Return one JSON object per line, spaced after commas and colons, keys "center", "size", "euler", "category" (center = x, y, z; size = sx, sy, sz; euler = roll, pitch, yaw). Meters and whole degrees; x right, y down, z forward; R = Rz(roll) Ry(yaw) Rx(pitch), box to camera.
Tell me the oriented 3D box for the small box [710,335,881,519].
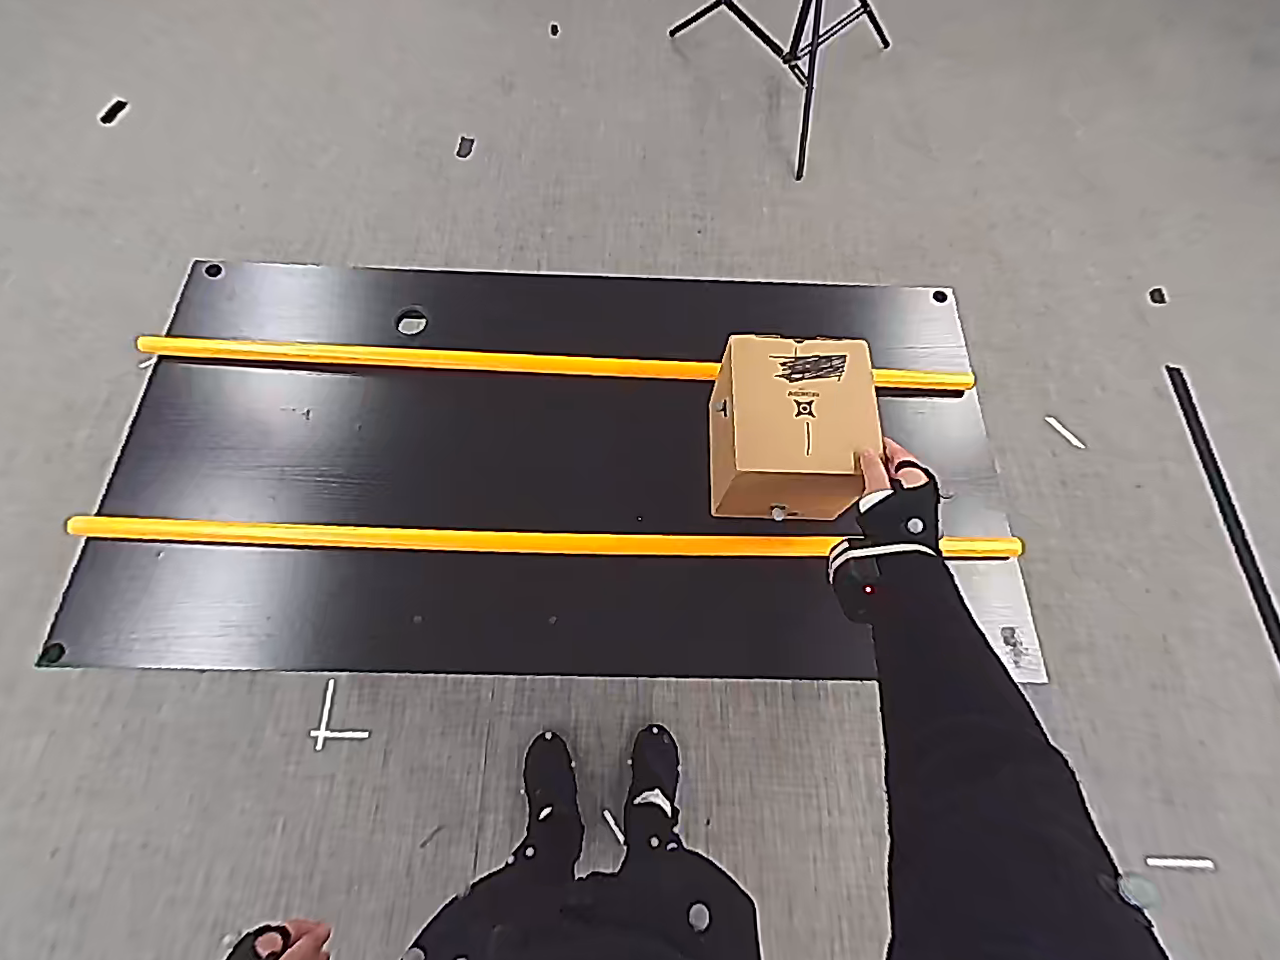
{"center": [0.183, -0.061, 0.692], "size": [0.168, 0.176, 0.179], "euler": [2, 69, -1], "category": "small box"}
